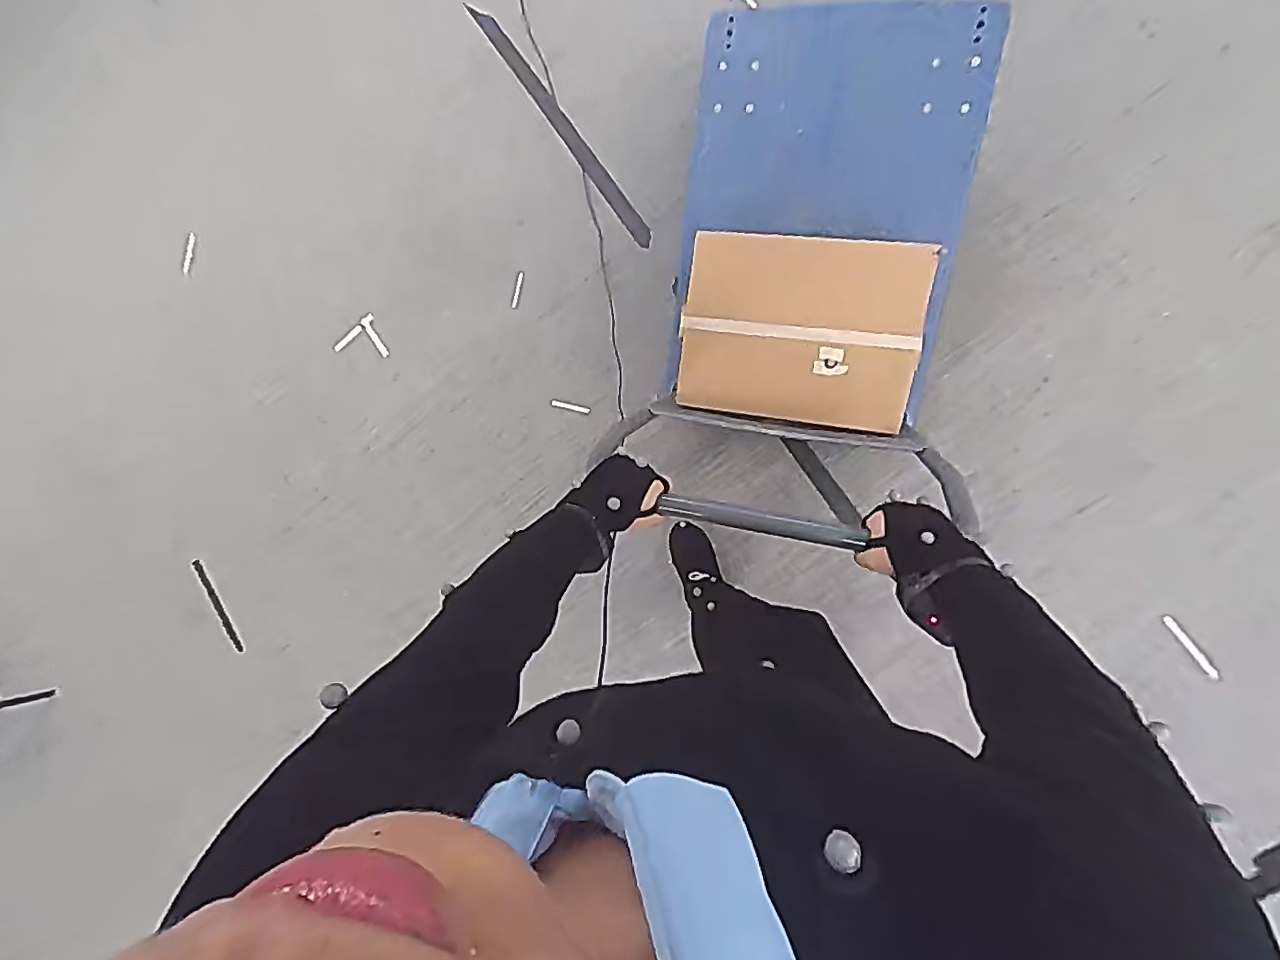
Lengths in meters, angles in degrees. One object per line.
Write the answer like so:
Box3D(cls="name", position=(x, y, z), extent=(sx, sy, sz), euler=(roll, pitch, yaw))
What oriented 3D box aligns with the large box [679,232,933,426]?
Box3D(cls="large box", position=(0.316, -0.302, 1.111), extent=(0.408, 0.320, 0.320), euler=(10, 105, 13))
